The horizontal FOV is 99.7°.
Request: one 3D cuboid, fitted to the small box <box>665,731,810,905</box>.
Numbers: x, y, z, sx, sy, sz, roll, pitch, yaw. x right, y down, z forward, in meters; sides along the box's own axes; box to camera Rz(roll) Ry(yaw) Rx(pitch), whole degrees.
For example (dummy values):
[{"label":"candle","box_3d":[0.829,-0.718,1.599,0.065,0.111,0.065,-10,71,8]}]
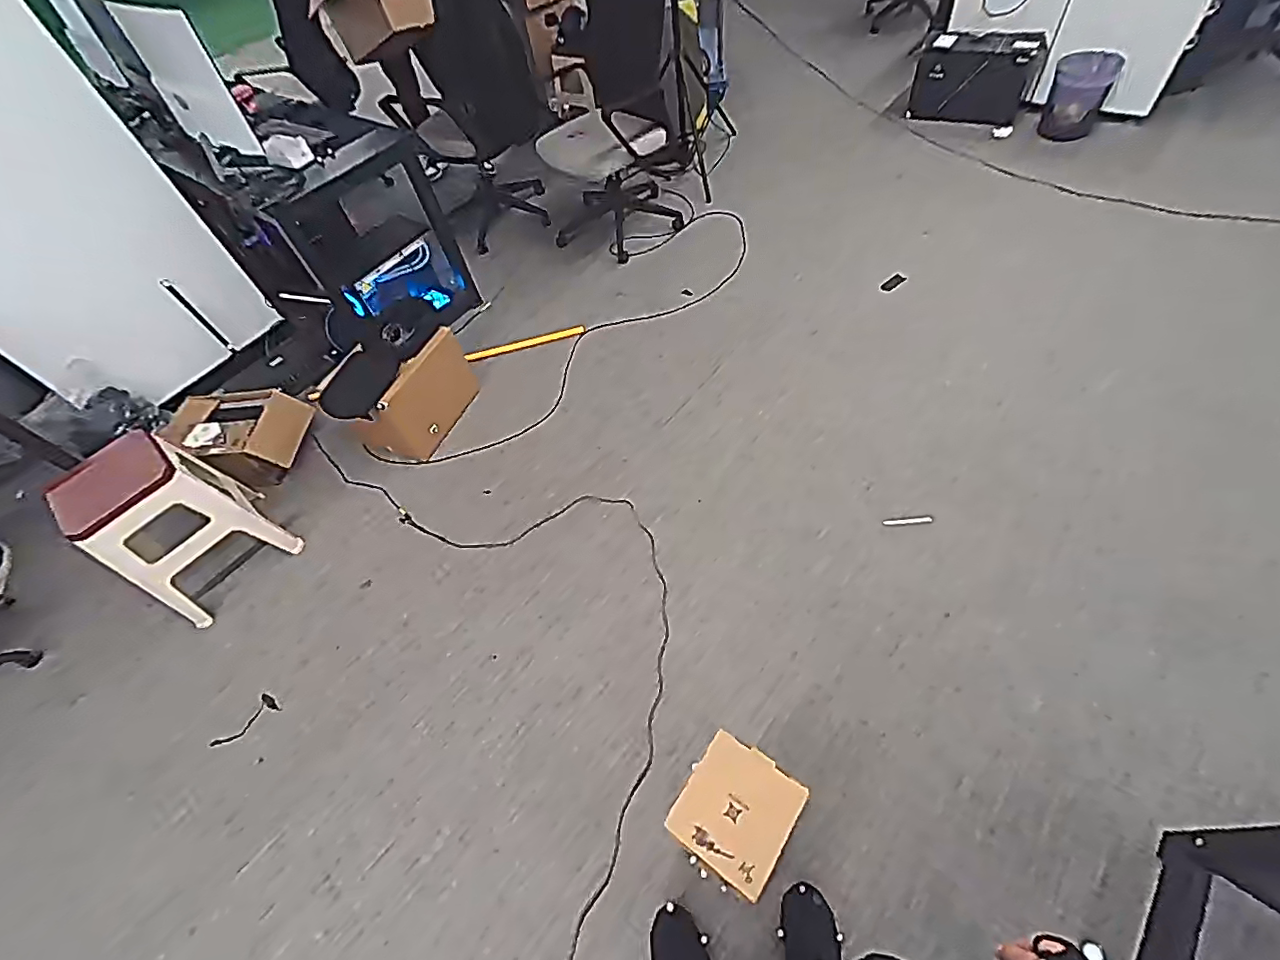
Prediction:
[{"label":"small box","box_3d":[0.160,0.562,0.905,0.168,0.176,0.179,27,62,27]}]
